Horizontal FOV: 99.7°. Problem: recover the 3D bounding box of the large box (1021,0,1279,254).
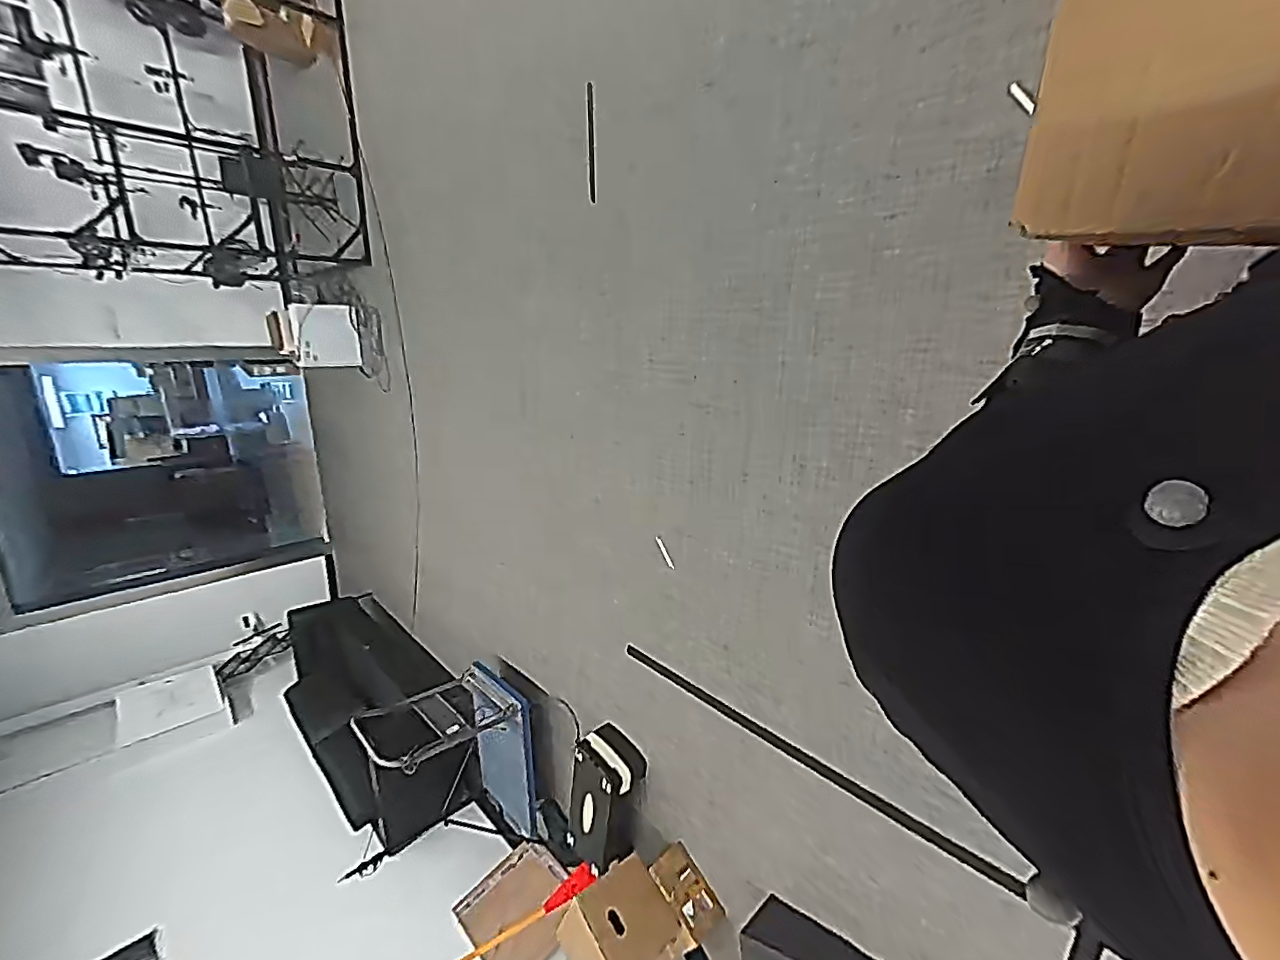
[{"bbox_3d":[0.469,-0.276,0.240,0.408,0.320,0.320,20,120,42],"label":"large box"}]
